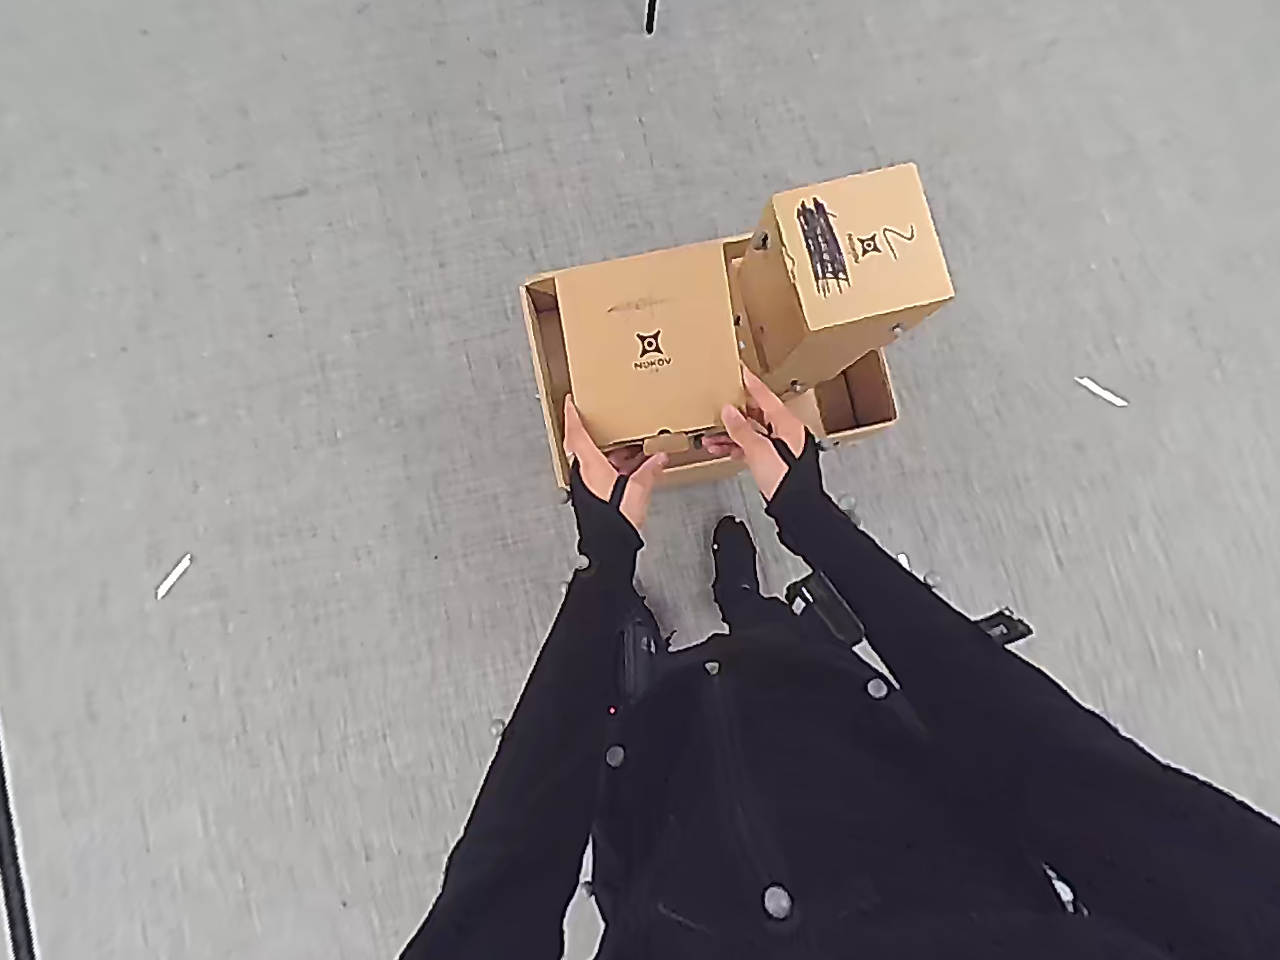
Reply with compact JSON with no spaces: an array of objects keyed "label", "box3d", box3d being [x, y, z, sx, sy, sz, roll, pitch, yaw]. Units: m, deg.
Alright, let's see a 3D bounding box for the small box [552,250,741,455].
[{"label":"small box","box3d":[0.011,-0.127,0.599,0.168,0.176,0.179,-9,93,3]}]
